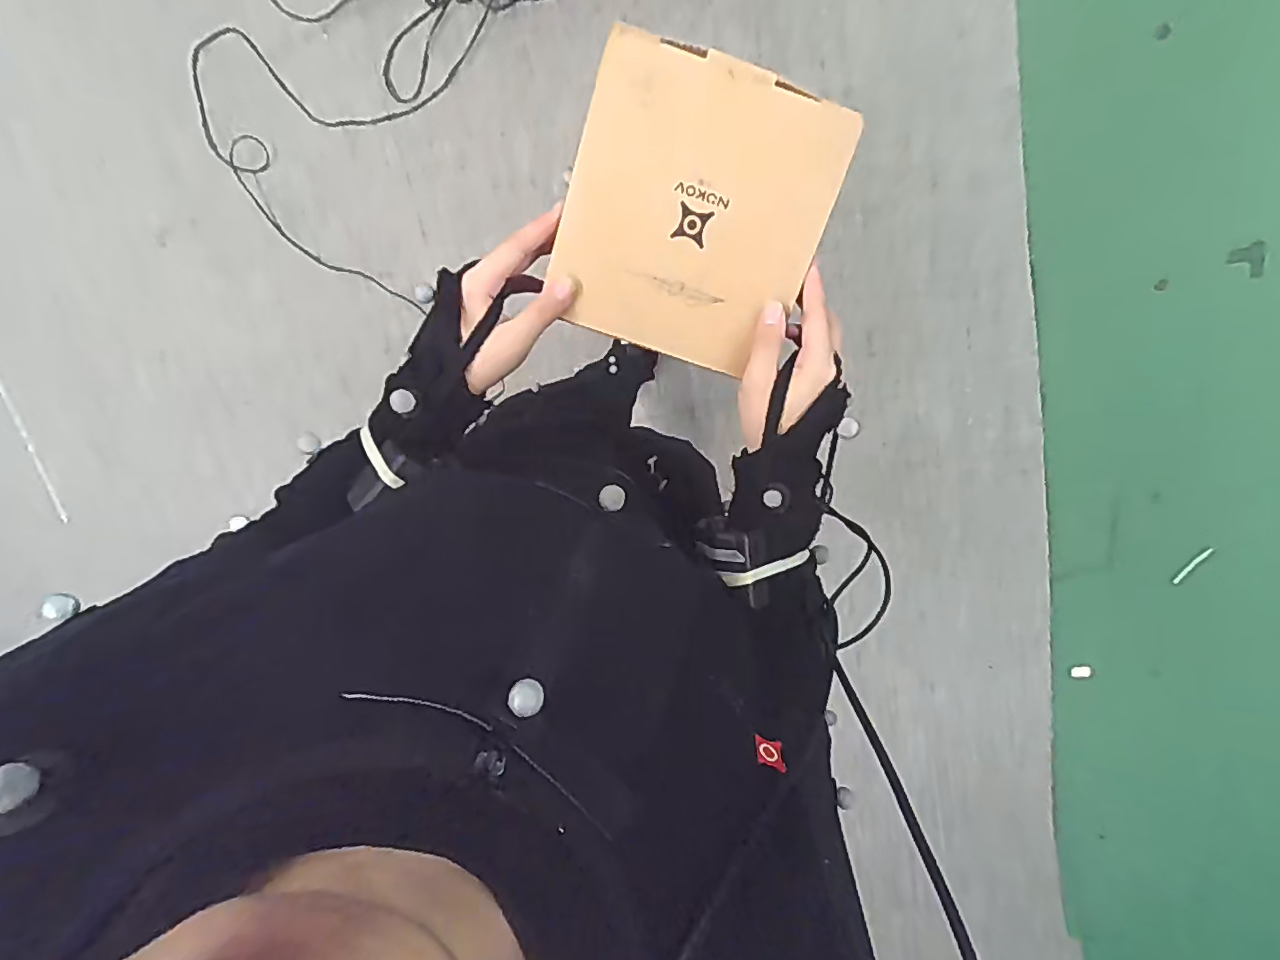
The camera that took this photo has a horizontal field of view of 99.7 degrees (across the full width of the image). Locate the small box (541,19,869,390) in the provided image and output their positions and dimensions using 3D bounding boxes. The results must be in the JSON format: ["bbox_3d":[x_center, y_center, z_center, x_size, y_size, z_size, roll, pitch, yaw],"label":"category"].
[{"bbox_3d":[0.037,-0.187,0.419,0.168,0.176,0.179,18,106,-4],"label":"small box"}]
